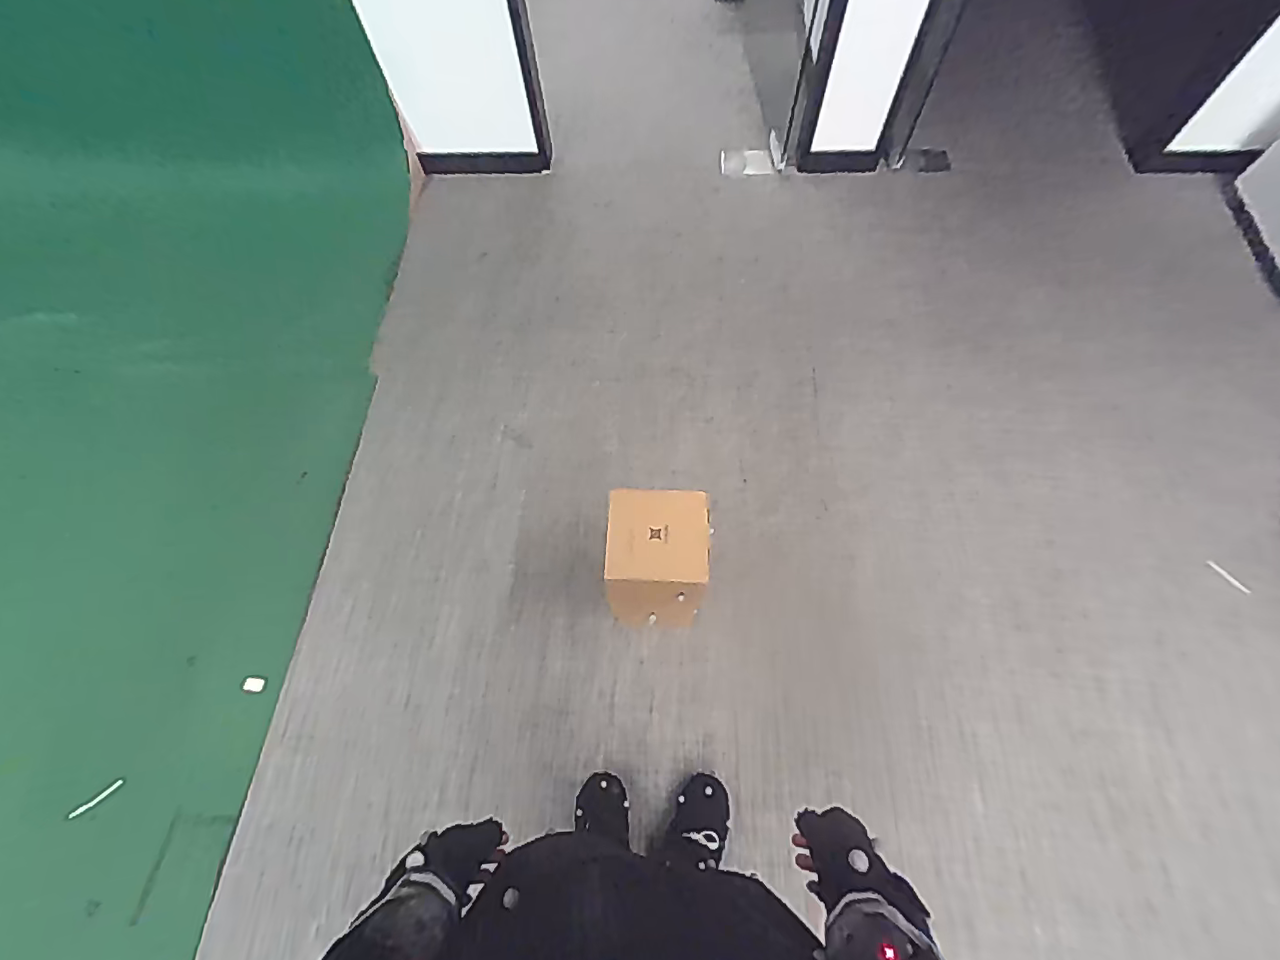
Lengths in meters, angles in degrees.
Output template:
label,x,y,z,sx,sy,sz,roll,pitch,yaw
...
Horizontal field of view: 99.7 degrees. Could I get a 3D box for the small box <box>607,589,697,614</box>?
label,x,y,z,sx,sy,sz,roll,pitch,yaw
small box,0.029,0.188,1.148,0.179,0.176,0.168,0,67,4

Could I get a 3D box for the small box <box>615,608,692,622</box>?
label,x,y,z,sx,sy,sz,roll,pitch,yaw
small box,0.036,0.243,1.299,0.179,0.176,0.168,1,65,5

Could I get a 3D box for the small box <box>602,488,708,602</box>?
label,x,y,z,sx,sy,sz,roll,pitch,yaw
small box,0.031,0.124,0.995,0.179,0.176,0.168,1,65,4
